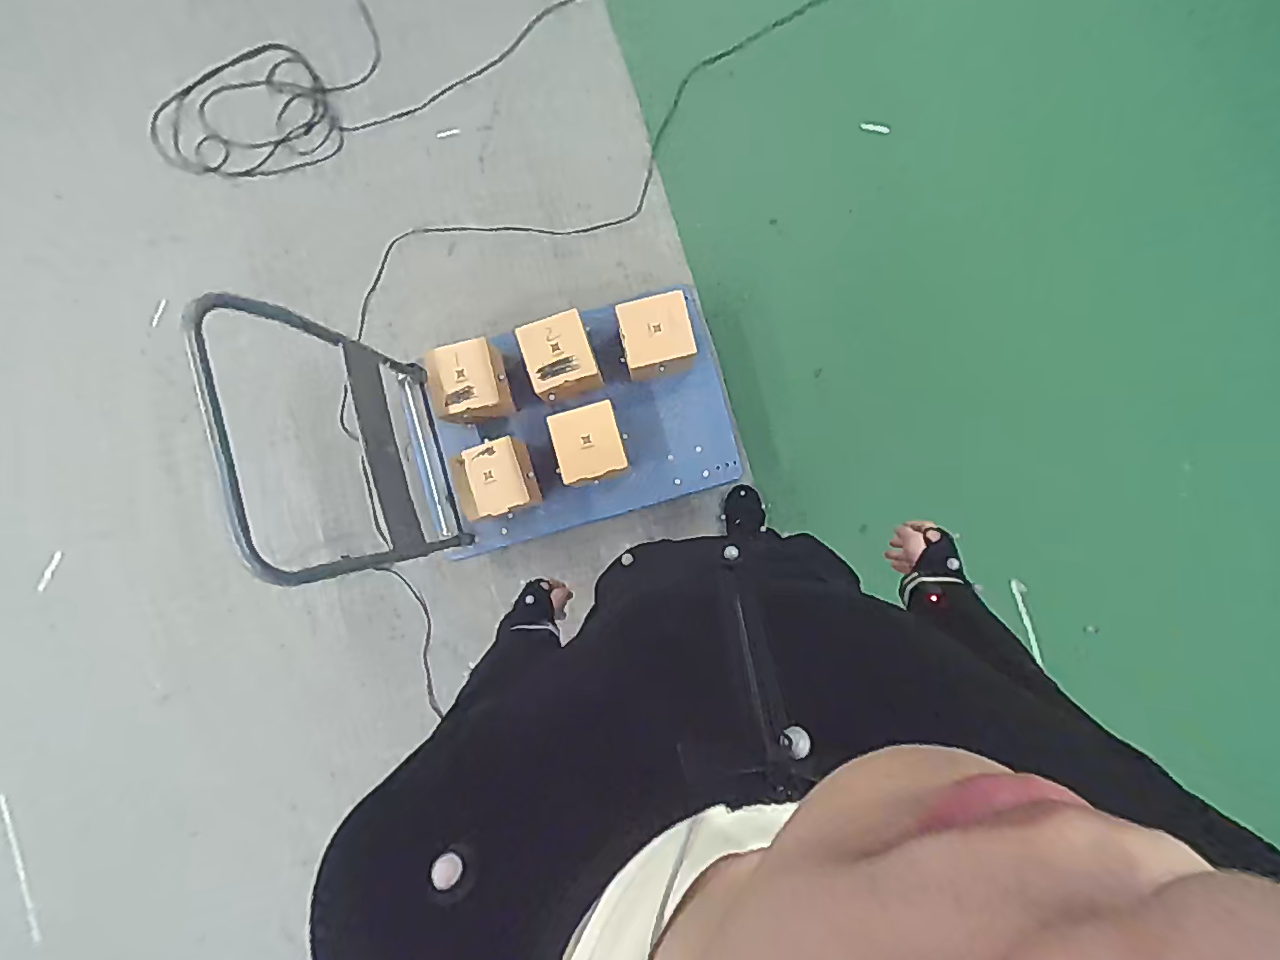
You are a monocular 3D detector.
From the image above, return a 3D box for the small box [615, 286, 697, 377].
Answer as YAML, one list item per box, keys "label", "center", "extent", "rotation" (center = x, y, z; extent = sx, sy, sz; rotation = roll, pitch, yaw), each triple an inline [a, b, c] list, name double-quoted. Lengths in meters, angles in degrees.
- label: "small box"
  center: [0.044, -0.378, 1.407]
  extent: [0.179, 0.176, 0.168]
  rotation: [-13, 88, 2]

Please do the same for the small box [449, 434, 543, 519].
- label: "small box"
  center: [-0.366, -0.008, 1.405]
  extent: [0.168, 0.176, 0.179]
  rotation: [-18, 88, 1]

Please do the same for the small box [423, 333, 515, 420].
- label: "small box"
  center: [-0.439, -0.261, 1.418]
  extent: [0.168, 0.176, 0.179]
  rotation: [-14, 87, 1]
